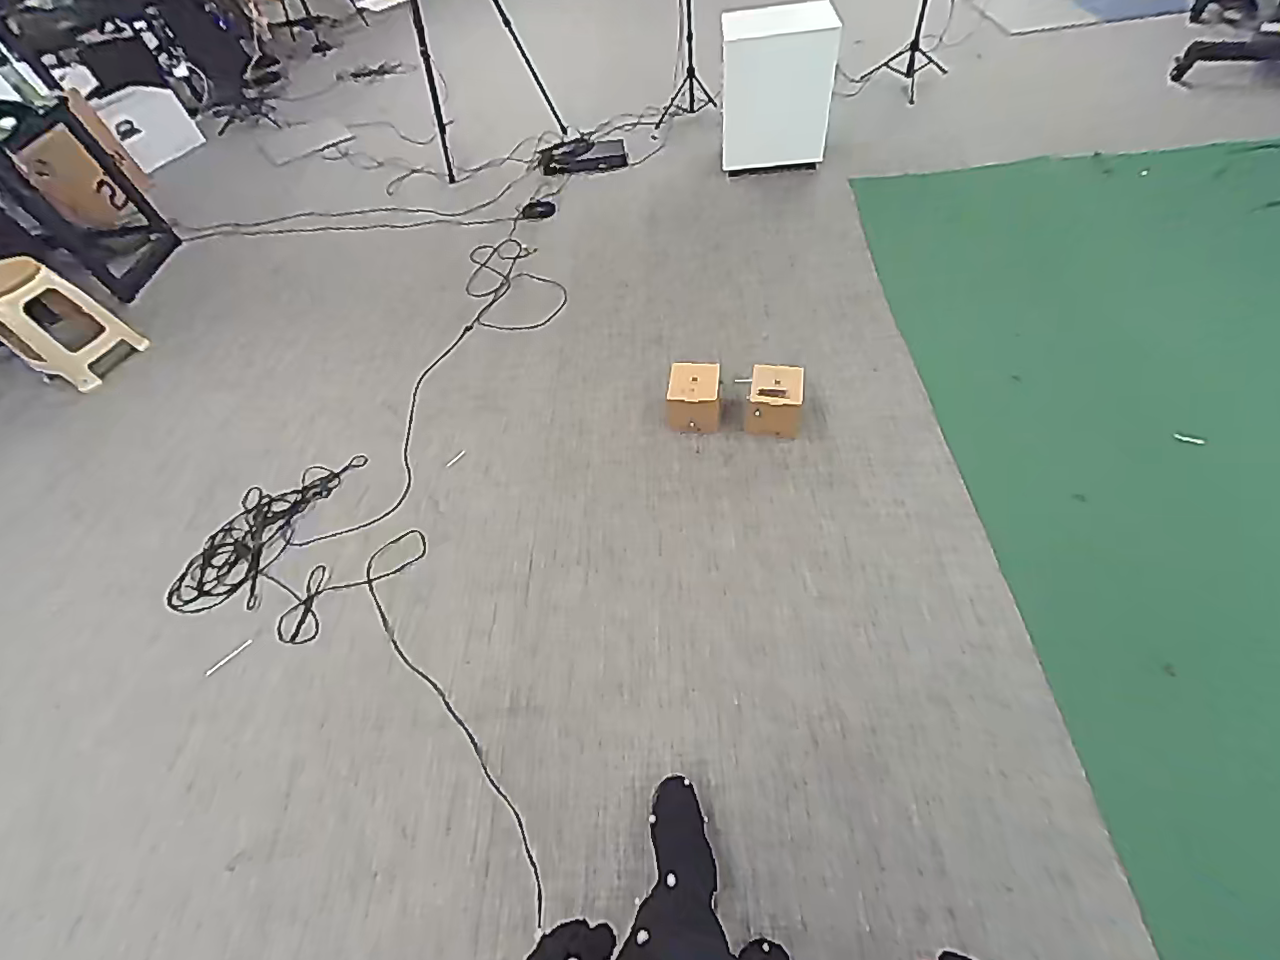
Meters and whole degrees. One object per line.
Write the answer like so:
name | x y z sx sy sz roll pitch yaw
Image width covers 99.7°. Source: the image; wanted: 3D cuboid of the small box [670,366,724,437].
small box | 0.203 -0.273 1.877 0.168 0.176 0.179 4 55 12
